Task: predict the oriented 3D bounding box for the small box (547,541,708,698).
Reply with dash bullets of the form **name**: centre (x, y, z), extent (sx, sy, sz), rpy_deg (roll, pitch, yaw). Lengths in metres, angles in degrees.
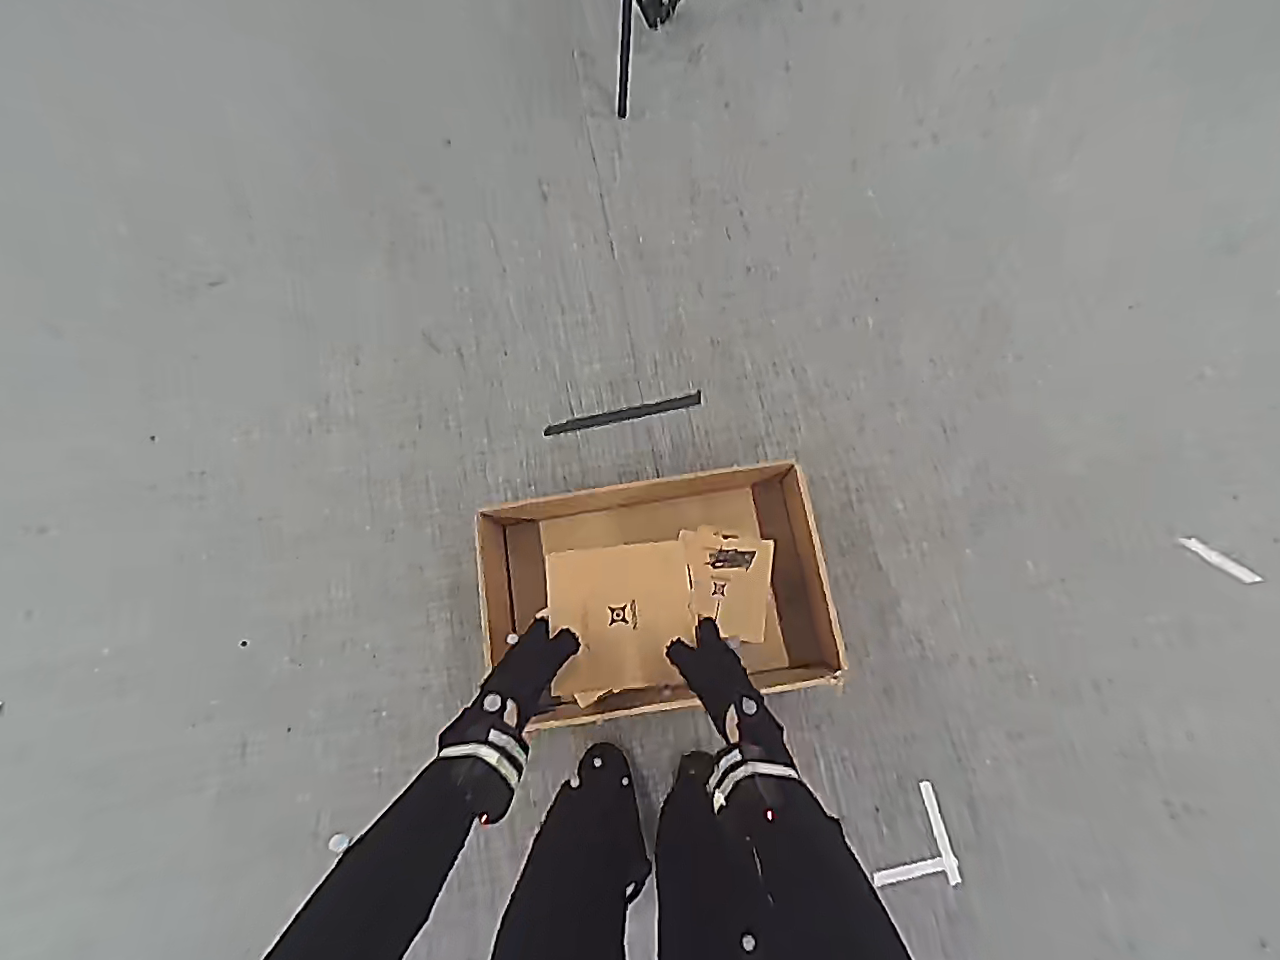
- **small box**: centre (-0.016, 0.182, 0.692), extent (0.179, 0.176, 0.168), rpy_deg (-6, 69, 0)
